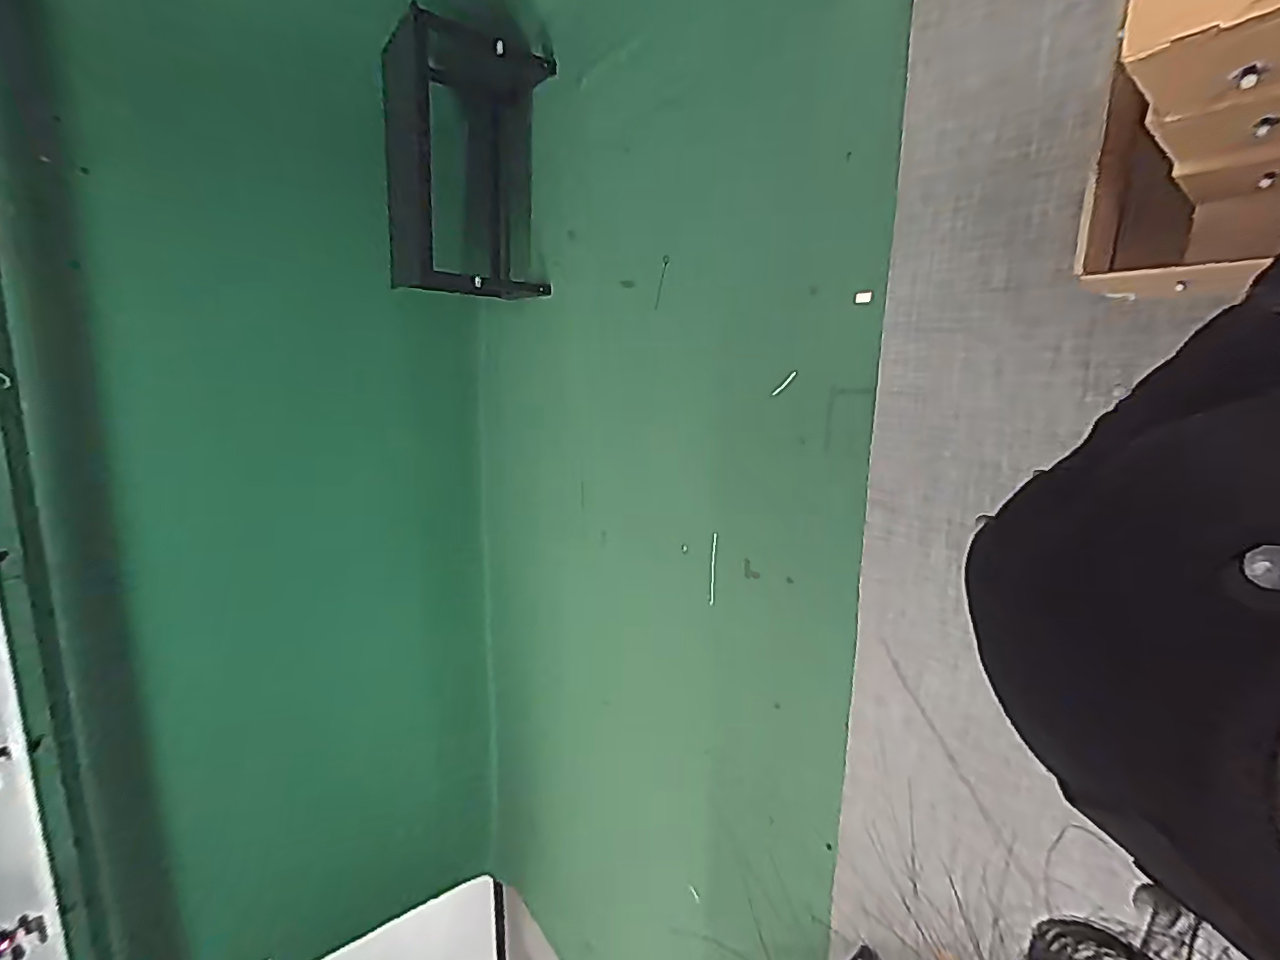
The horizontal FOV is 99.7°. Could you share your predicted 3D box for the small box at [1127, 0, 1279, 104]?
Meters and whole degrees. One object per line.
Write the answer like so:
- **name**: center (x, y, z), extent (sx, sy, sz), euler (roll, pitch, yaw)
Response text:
- **small box**: center (0.541, -0.458, 0.446), extent (0.168, 0.176, 0.179), euler (12, 105, 52)
